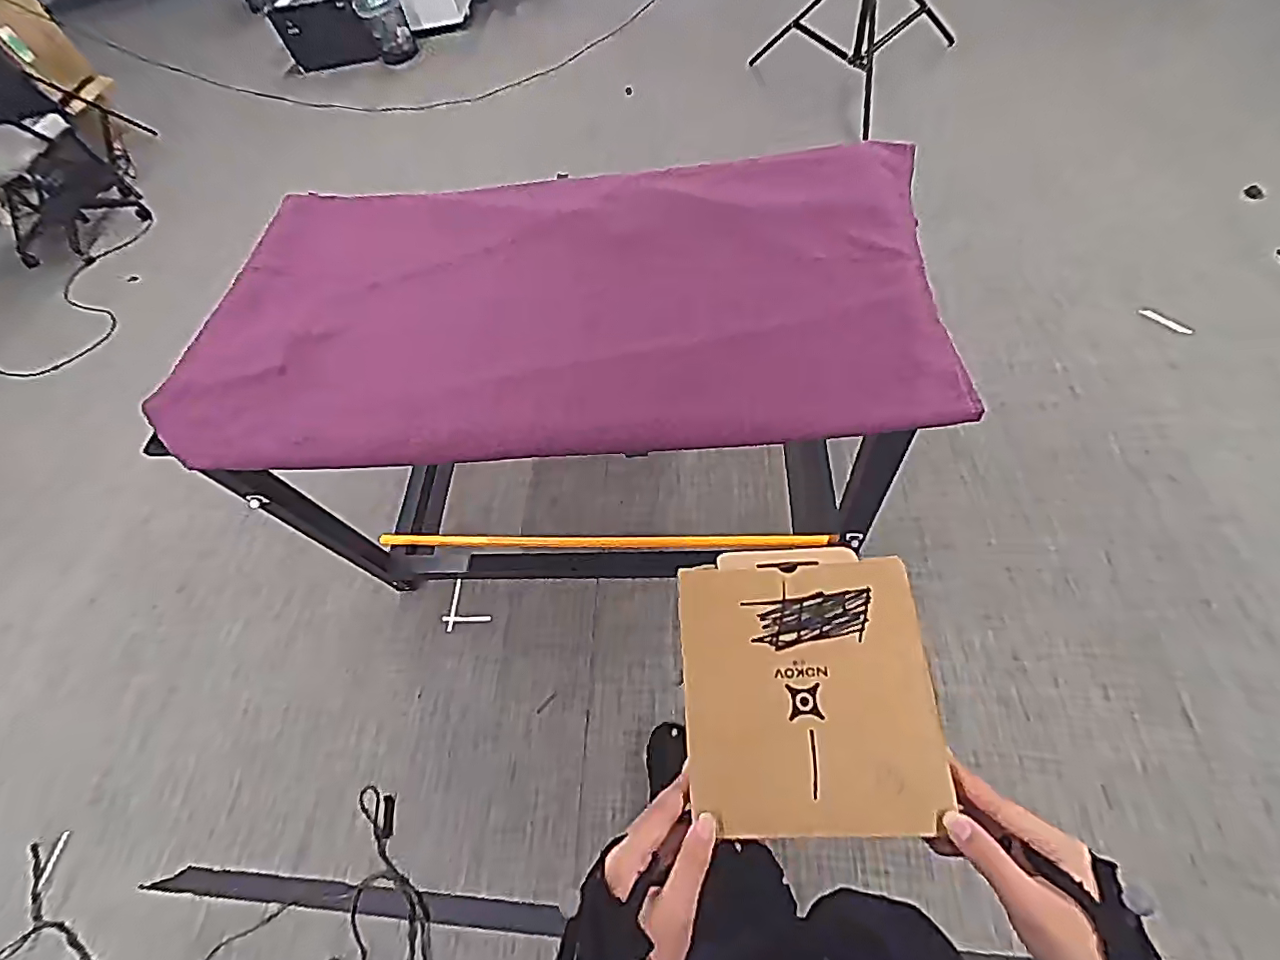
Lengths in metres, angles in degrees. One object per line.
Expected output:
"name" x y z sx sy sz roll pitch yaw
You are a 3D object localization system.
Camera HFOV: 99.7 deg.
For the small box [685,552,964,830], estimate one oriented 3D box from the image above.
"small box" 0.124 0.168 0.440 0.168 0.176 0.179 -4 67 7
